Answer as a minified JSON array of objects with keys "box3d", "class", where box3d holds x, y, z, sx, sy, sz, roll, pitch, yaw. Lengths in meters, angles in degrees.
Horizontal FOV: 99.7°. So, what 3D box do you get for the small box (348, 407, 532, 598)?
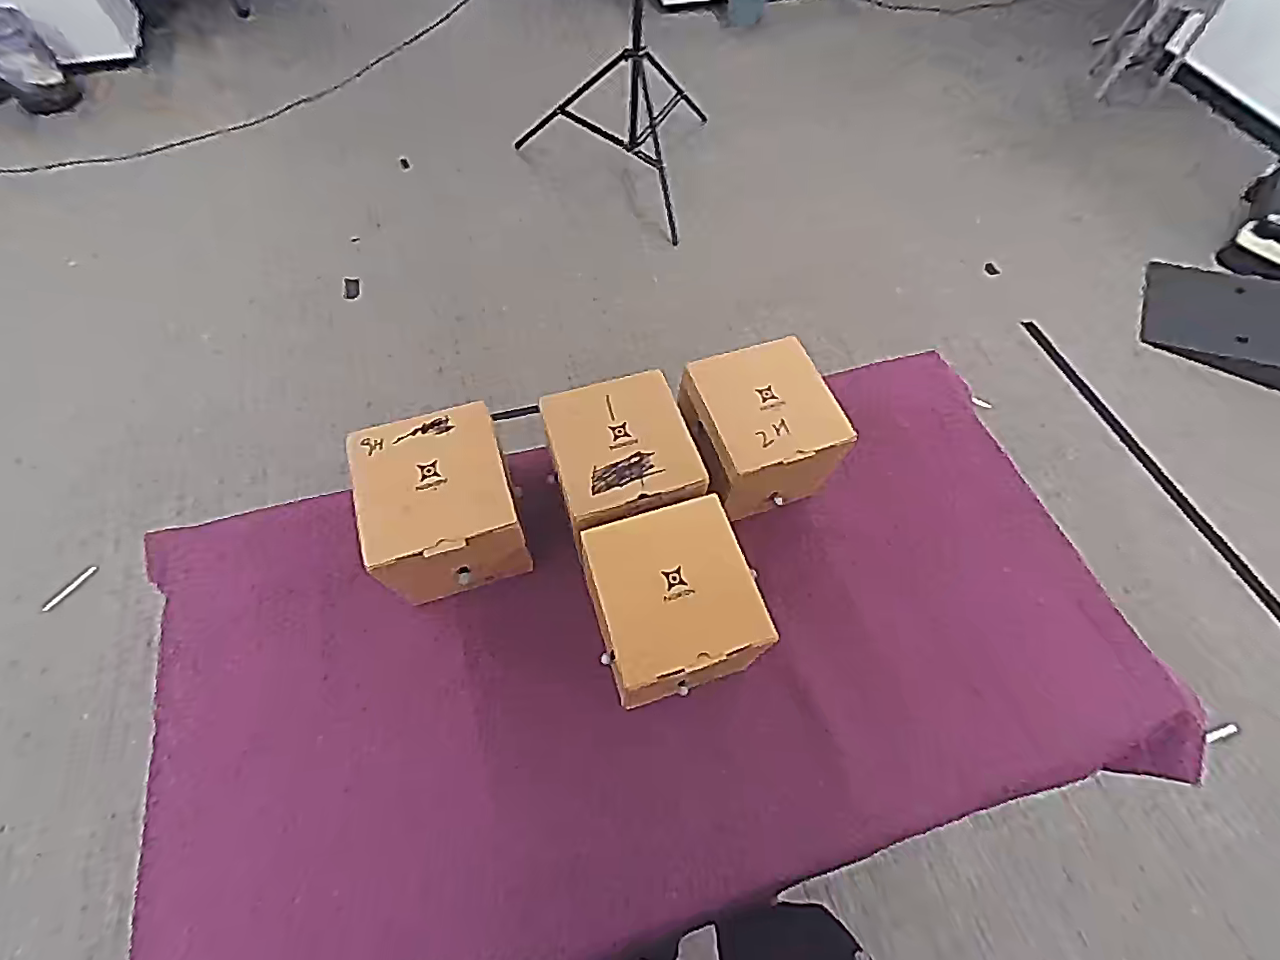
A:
[{"box3d":[-0.243,0.039,0.687,0.168,0.176,0.179,-16,66,-11],"class":"small box"}]
